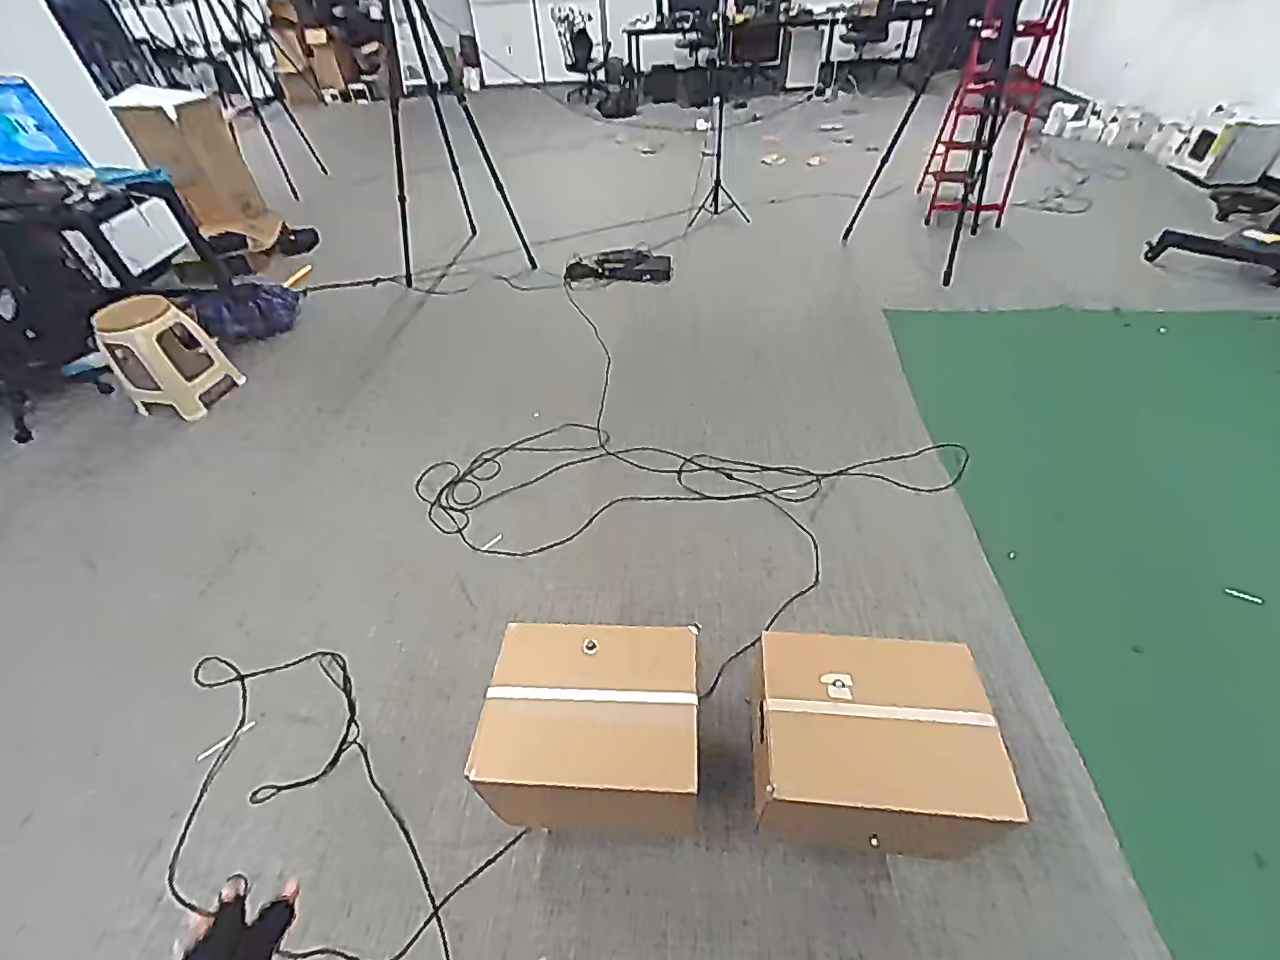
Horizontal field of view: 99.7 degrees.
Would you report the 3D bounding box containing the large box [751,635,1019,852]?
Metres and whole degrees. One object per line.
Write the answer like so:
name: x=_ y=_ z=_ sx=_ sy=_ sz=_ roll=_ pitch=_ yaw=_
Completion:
large box: x=0.448 y=0.539 z=1.108 sx=0.408 sy=0.320 sz=0.320 roll=2 pitch=45 yaw=7
